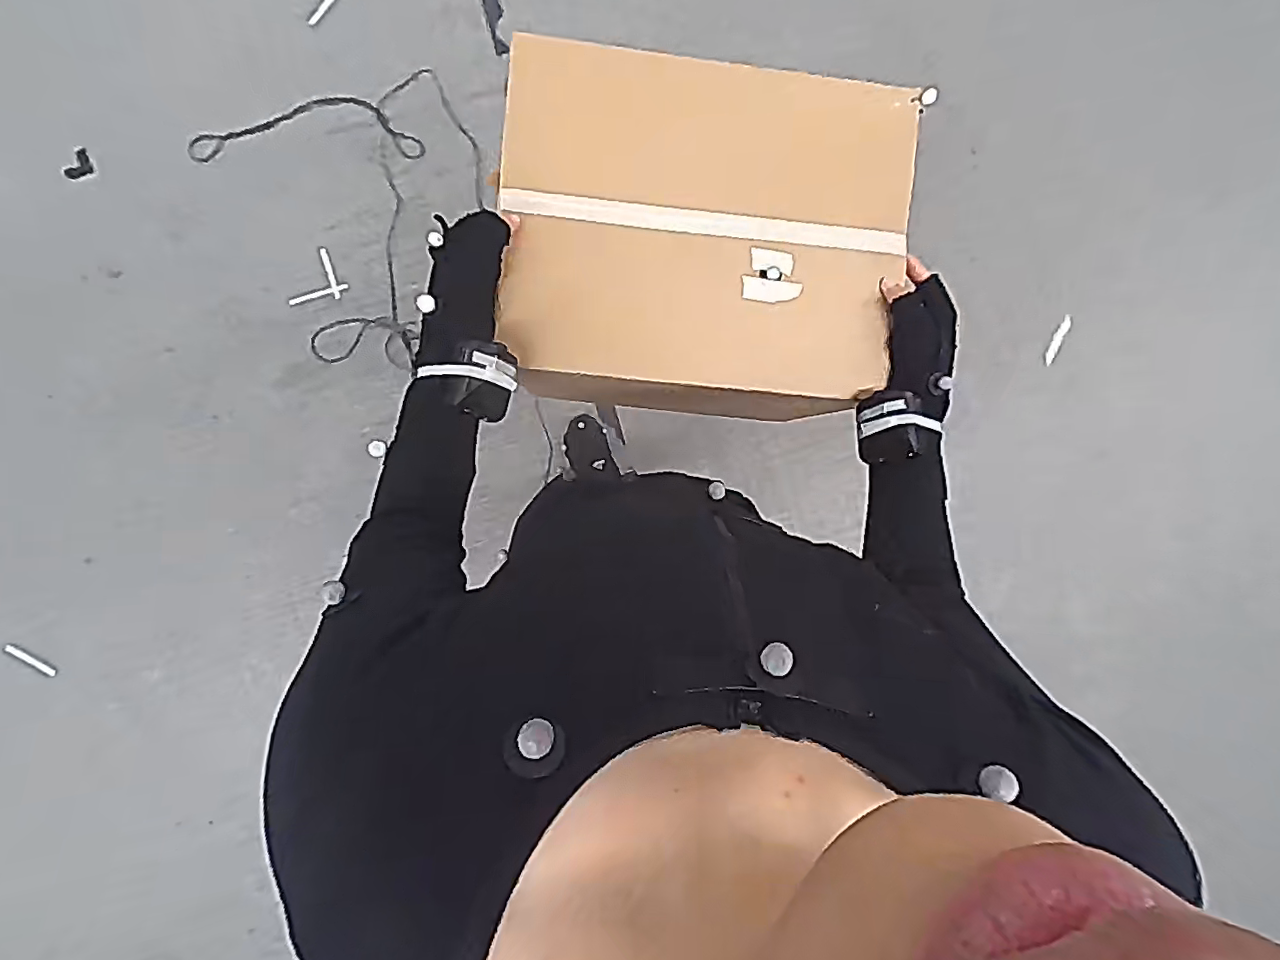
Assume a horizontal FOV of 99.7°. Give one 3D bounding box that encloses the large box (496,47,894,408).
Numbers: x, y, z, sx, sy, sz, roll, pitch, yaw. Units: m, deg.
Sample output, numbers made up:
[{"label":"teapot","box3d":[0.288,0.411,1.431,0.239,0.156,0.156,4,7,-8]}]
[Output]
[{"label":"large box","box3d":[0.046,-0.270,0.699,0.408,0.320,0.320,4,93,-5]}]
